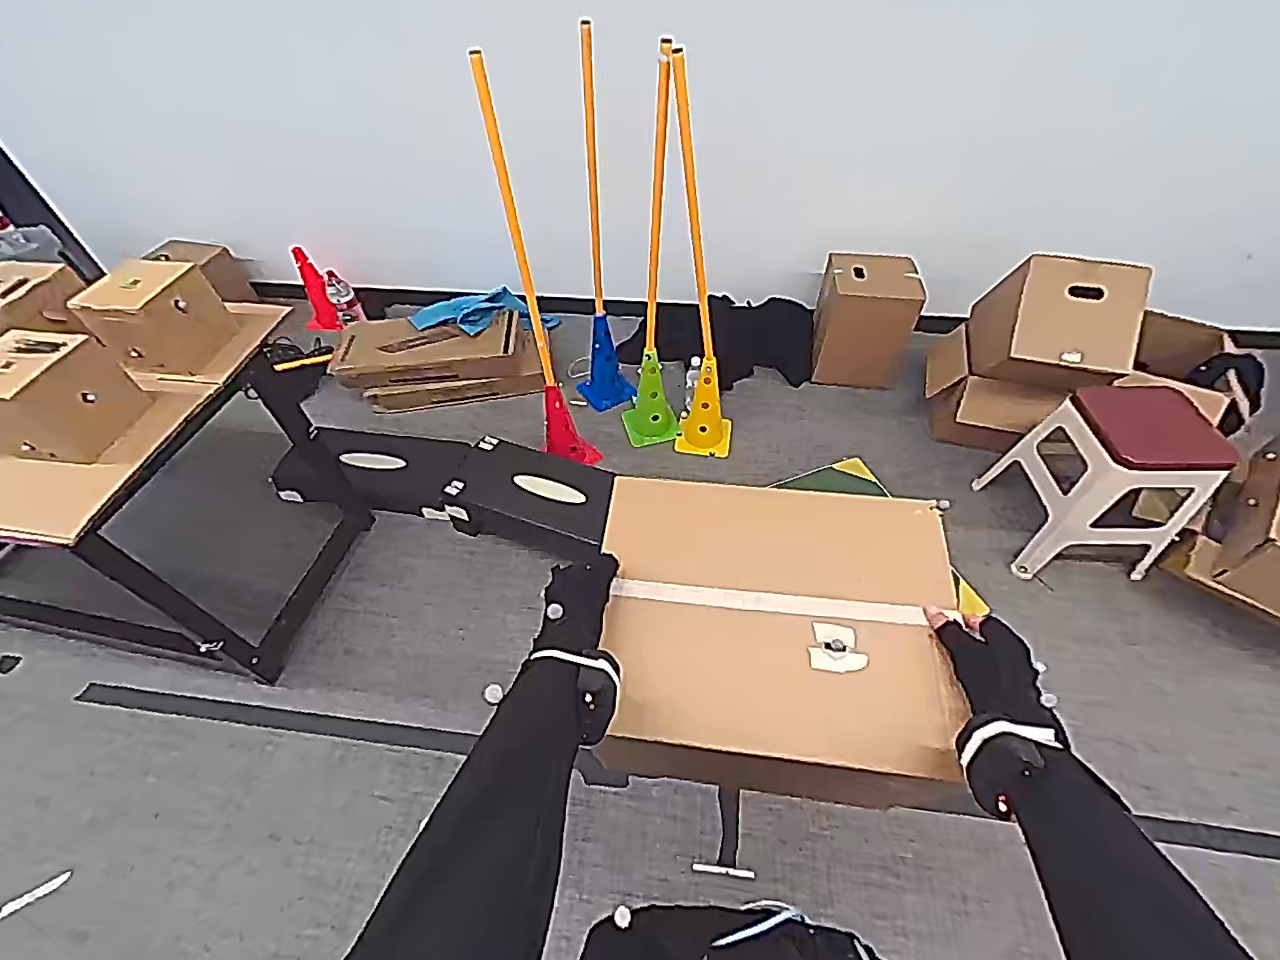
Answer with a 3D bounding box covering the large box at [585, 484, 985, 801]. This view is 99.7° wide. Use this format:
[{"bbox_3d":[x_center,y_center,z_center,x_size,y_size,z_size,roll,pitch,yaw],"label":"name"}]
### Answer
[{"bbox_3d":[0.162,0.229,0.744,0.408,0.320,0.320,5,57,7],"label":"large box"}]
